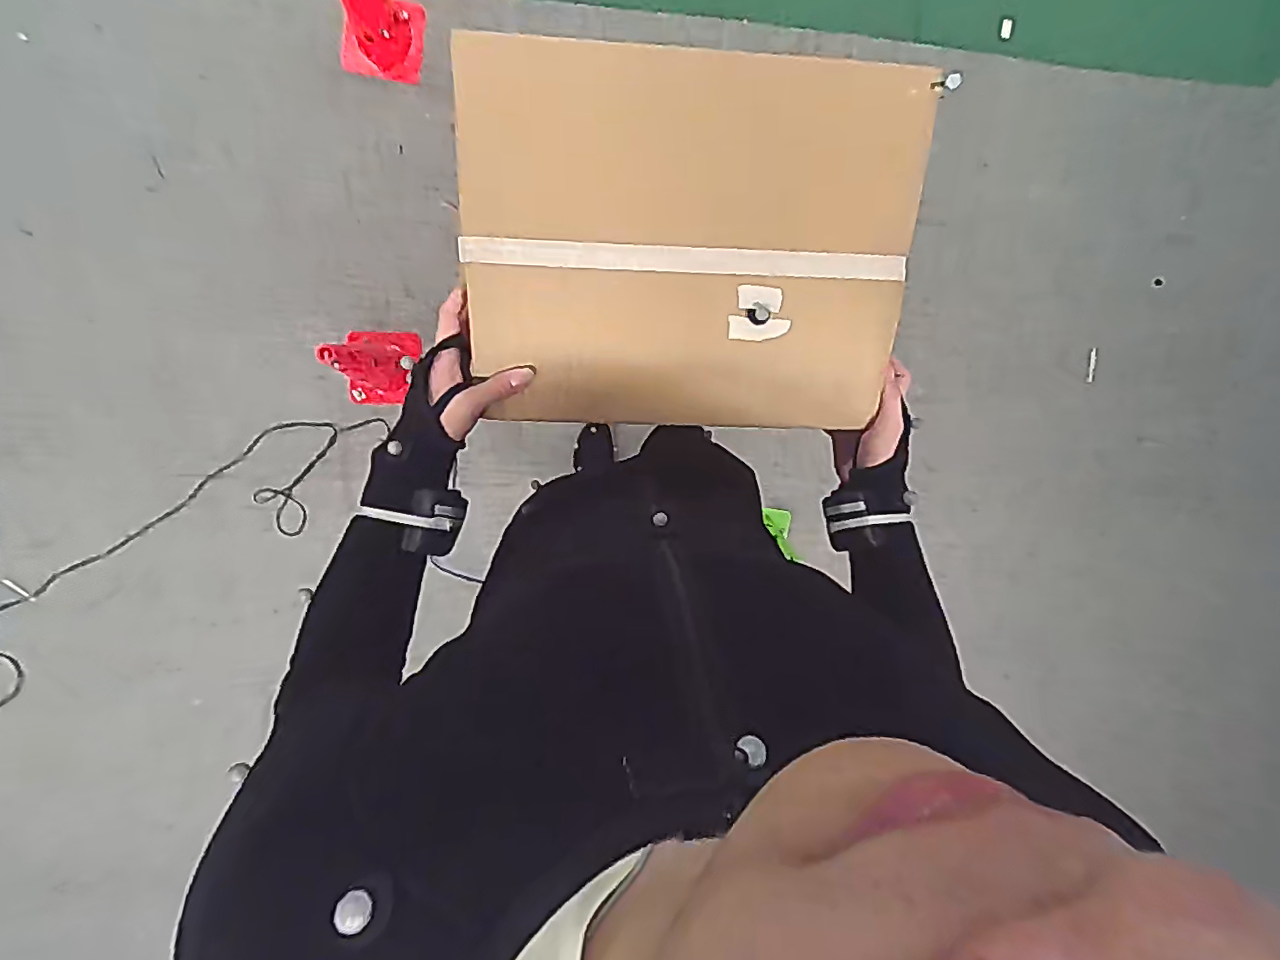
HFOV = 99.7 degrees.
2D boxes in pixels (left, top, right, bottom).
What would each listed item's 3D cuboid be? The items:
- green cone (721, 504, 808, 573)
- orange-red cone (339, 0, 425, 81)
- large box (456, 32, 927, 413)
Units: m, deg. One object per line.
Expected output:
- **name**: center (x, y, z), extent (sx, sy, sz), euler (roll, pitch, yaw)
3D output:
- **green cone**: center (0.378, 0.195, 1.506), extent (0.200, 0.368, 0.202), euler (8, 94, -7)
- **orange-red cone**: center (-0.666, -1.152, 1.254), extent (0.199, 0.360, 0.198), euler (10, 94, -5)
- **large box**: center (0.033, -0.265, 0.636), extent (0.408, 0.320, 0.320), euler (1, 111, -5)
